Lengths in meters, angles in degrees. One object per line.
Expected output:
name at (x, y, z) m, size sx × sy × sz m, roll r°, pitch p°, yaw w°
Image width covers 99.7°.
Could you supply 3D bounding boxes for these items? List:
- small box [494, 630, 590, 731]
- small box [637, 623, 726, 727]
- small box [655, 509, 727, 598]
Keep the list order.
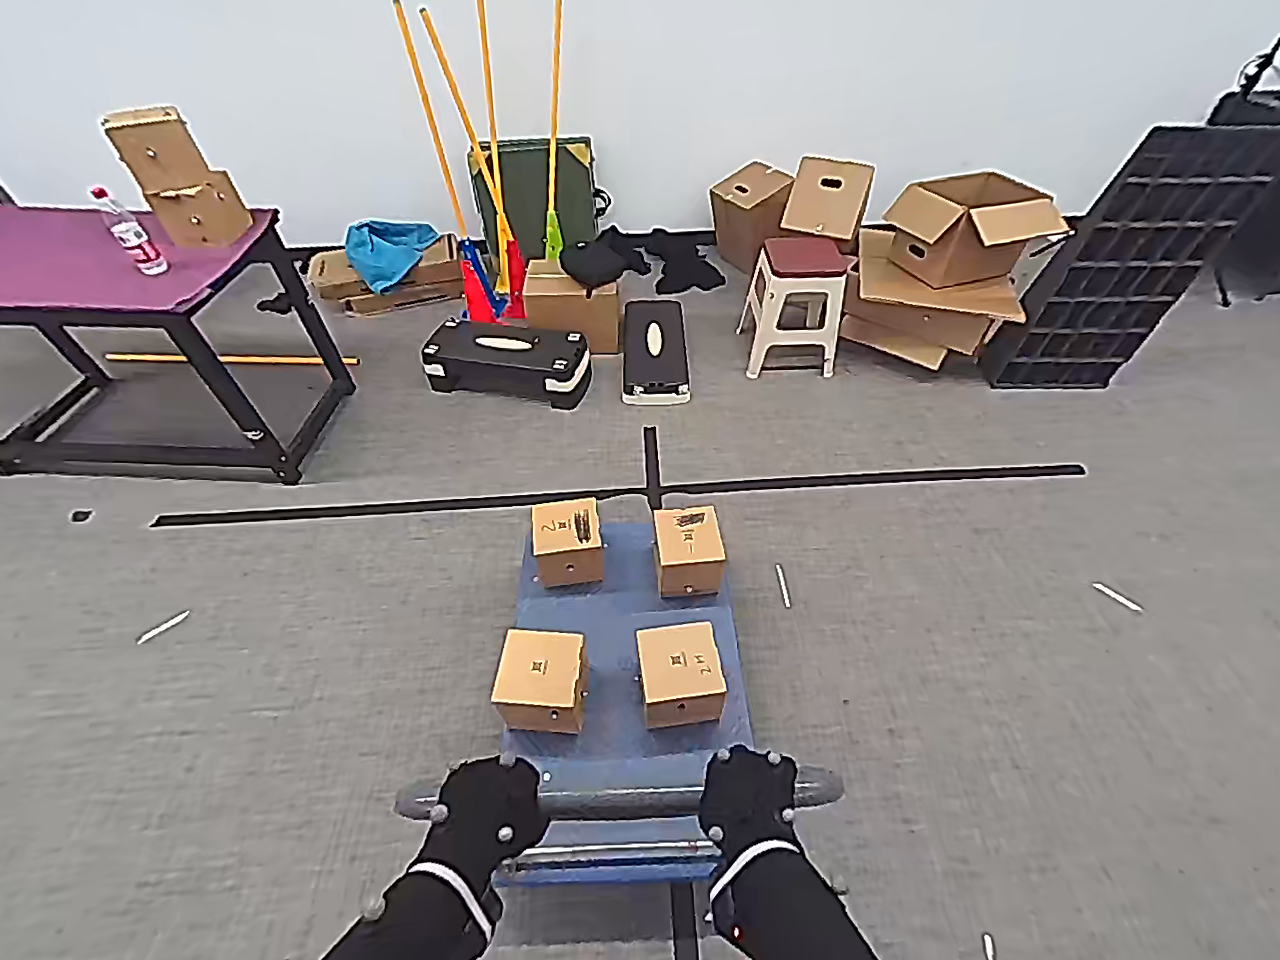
small box at (-0.214, 0.462, 1.238) m, size 0.179 × 0.176 × 0.168 m, roll 4°, pitch 48°, yaw 2°
small box at (0.091, 0.452, 1.243) m, size 0.179 × 0.176 × 0.168 m, roll -6°, pitch 49°, yaw -4°
small box at (0.130, 0.200, 1.466) m, size 0.168 × 0.176 × 0.179 m, roll -4°, pitch 50°, yaw -3°
